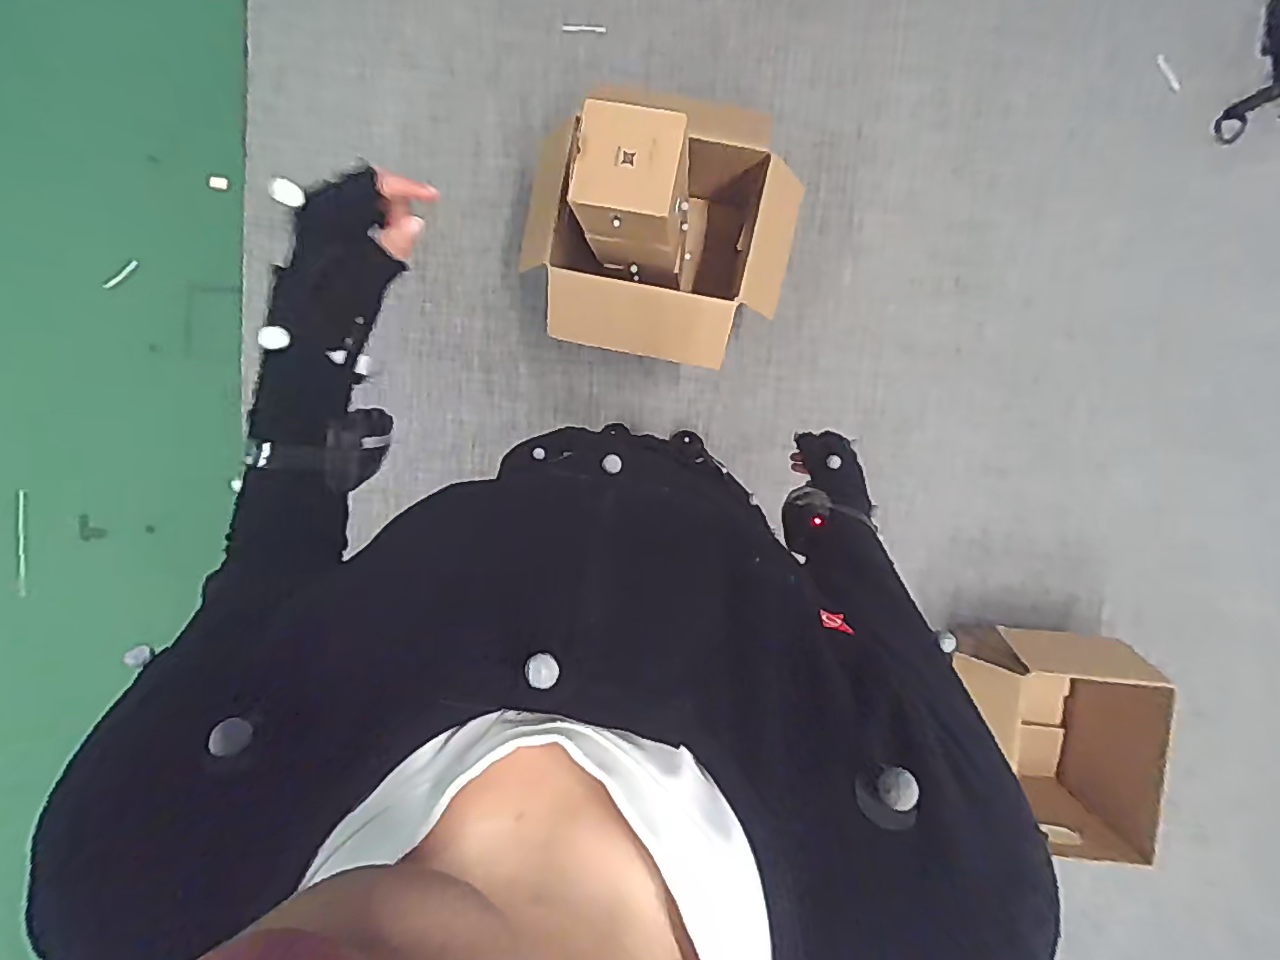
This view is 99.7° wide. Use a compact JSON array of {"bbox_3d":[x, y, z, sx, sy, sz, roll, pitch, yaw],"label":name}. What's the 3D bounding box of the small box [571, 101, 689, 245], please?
[{"bbox_3d":[-0.011,-0.543,0.978,0.179,0.176,0.168,11,97,4],"label":"small box"}]
